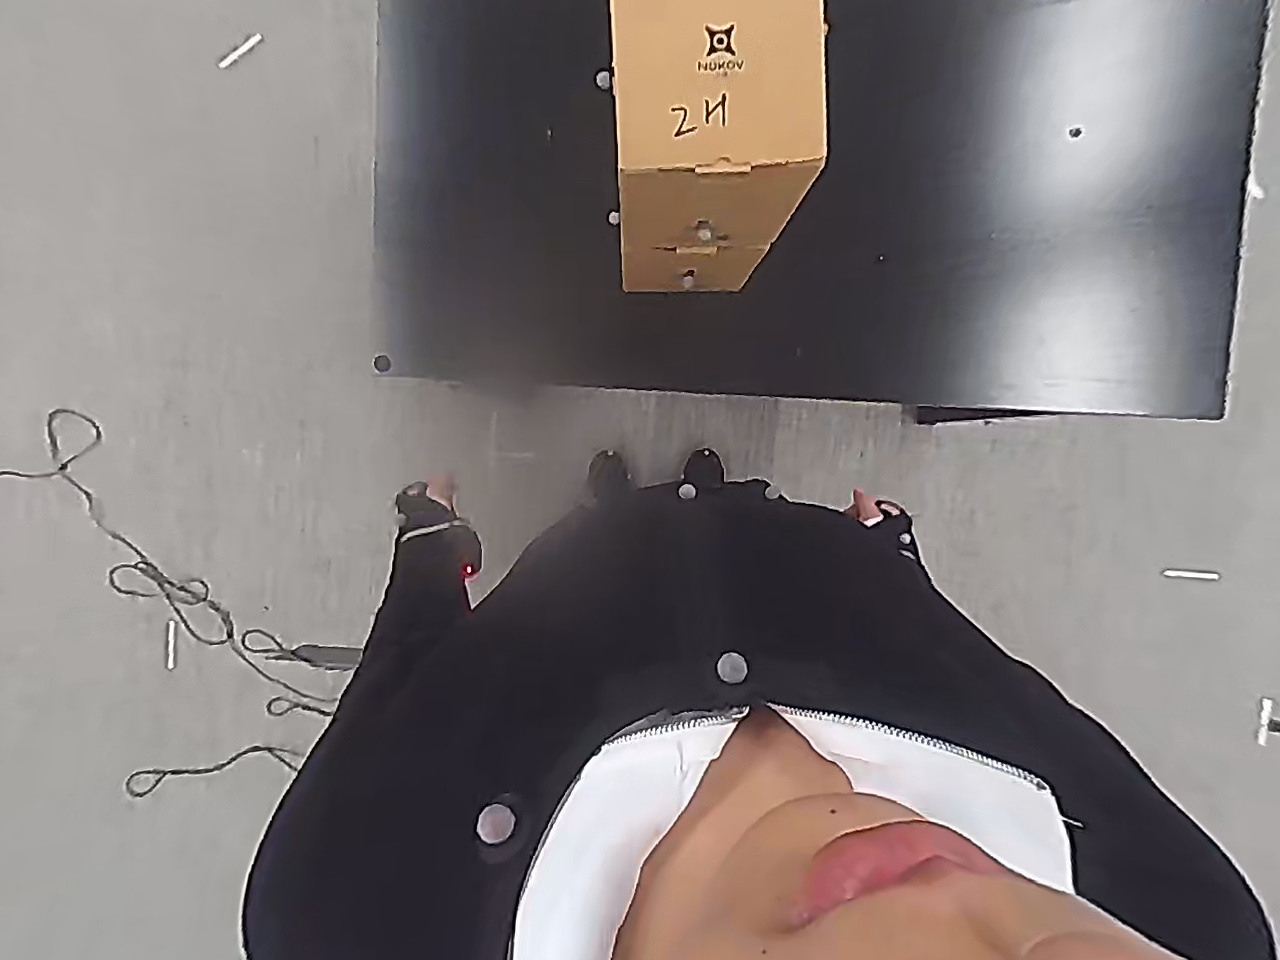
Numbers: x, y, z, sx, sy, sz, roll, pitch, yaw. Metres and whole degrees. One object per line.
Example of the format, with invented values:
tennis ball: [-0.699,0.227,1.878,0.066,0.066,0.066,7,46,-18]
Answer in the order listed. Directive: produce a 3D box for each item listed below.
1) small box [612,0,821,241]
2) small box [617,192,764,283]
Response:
small box: [0.059,-0.346,0.504,0.168,0.176,0.179,-3,93,0]
small box: [0.057,-0.352,0.670,0.168,0.176,0.179,-1,94,0]
